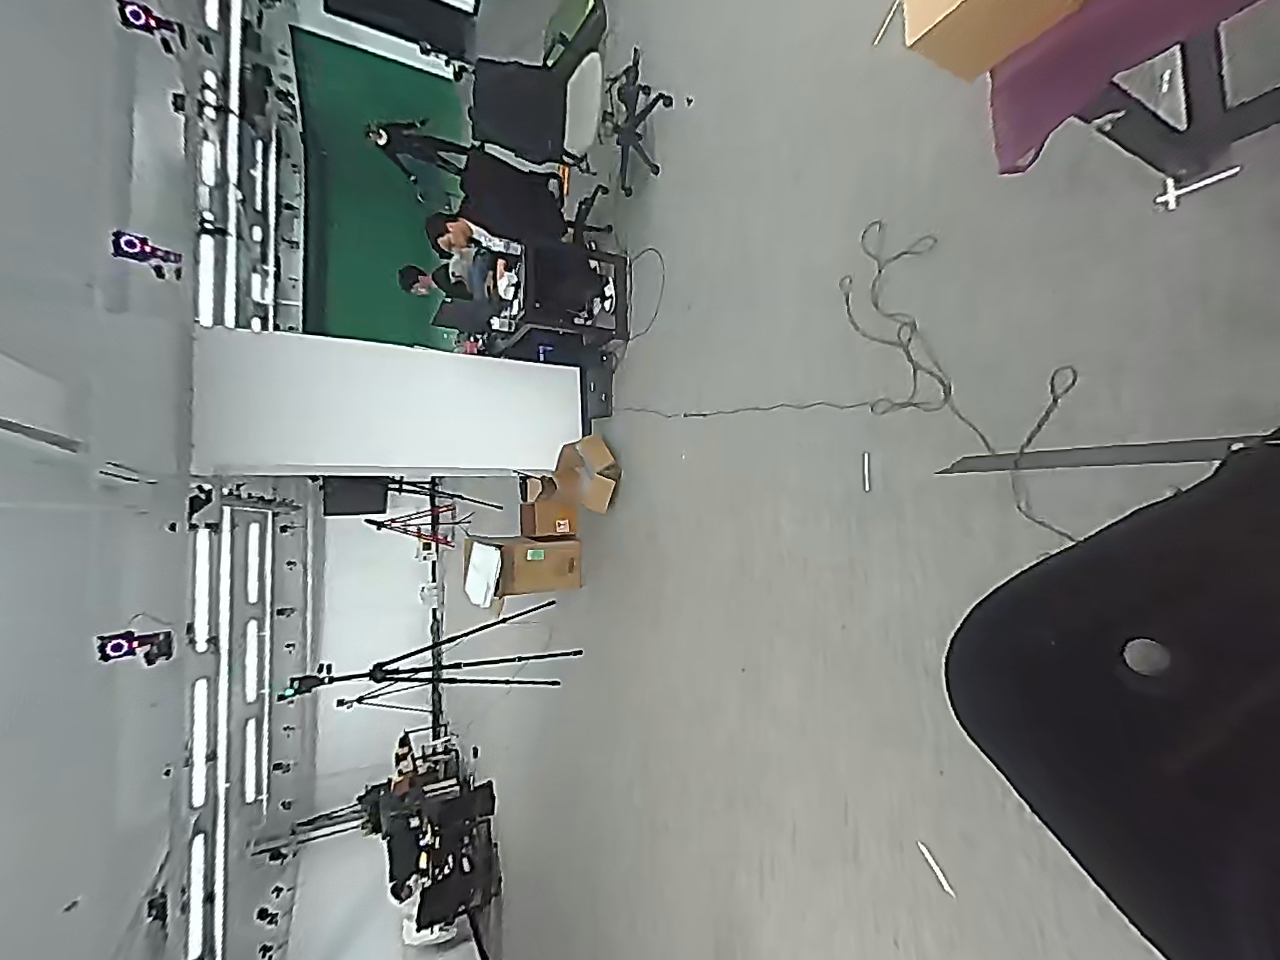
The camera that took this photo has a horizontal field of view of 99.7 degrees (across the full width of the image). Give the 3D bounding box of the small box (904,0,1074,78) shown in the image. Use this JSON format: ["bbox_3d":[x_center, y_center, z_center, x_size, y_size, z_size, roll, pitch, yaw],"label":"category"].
[{"bbox_3d":[0.540,-0.781,0.840,0.179,0.176,0.168,-8,82,61],"label":"small box"}]
